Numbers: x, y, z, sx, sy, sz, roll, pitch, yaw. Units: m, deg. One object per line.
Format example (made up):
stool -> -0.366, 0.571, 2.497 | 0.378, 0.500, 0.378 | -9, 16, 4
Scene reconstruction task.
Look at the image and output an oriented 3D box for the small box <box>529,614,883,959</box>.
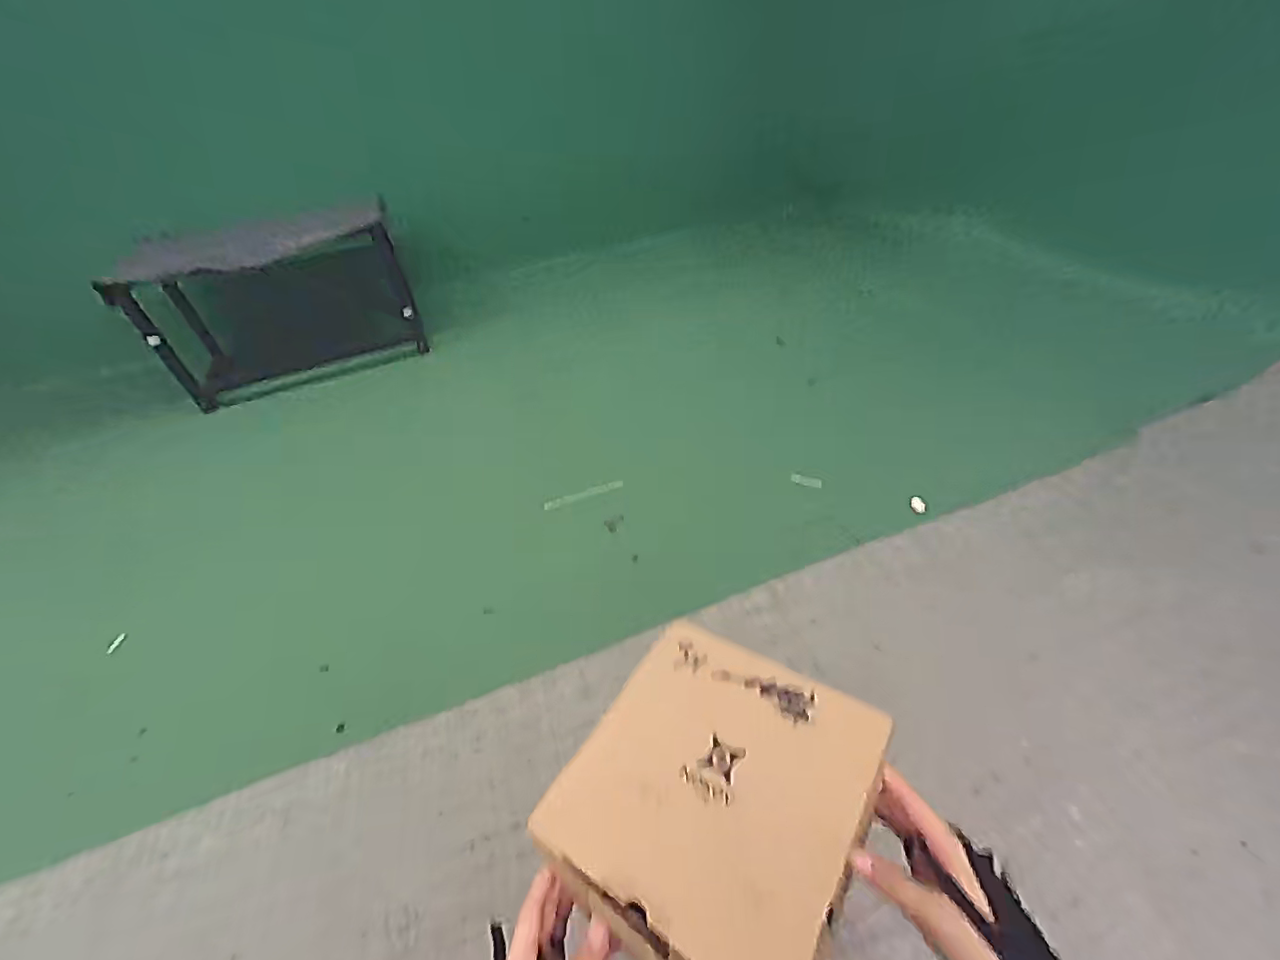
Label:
small box -> 0.057, 0.238, 0.386 | 0.168, 0.176, 0.179 | 17, 46, 32
